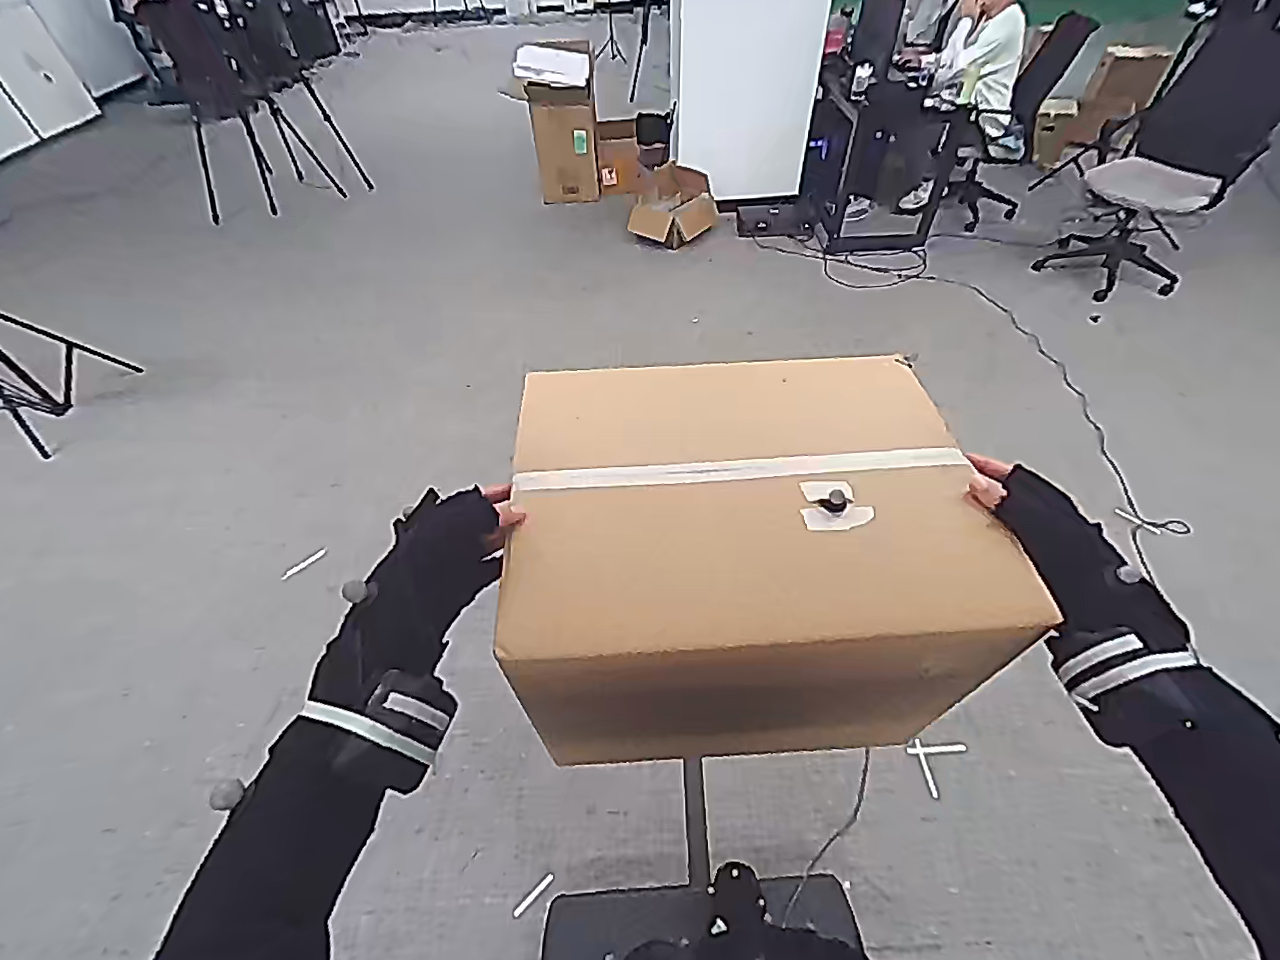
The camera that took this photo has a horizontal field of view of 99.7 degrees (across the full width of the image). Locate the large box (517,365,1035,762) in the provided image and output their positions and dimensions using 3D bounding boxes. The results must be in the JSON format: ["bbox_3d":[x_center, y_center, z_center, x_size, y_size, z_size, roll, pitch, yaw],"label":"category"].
[{"bbox_3d":[0.094,0.097,0.609,0.408,0.320,0.320,-3,50,-2],"label":"large box"}]
